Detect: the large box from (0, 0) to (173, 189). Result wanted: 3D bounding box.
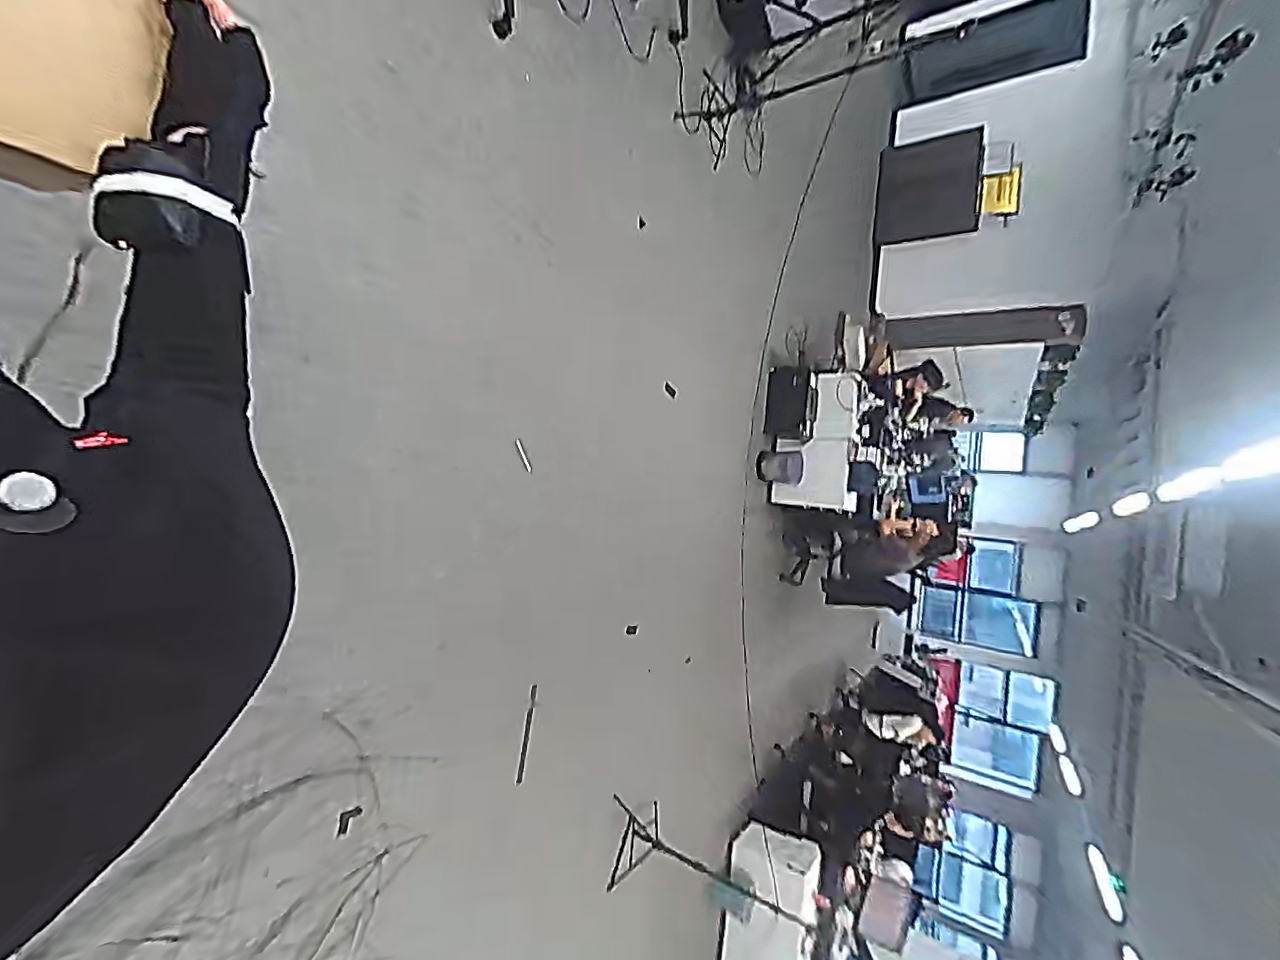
[{"bbox_3d":[-0.589,-0.425,0.322,0.408,0.320,0.320,3,105,-61],"label":"large box"}]
